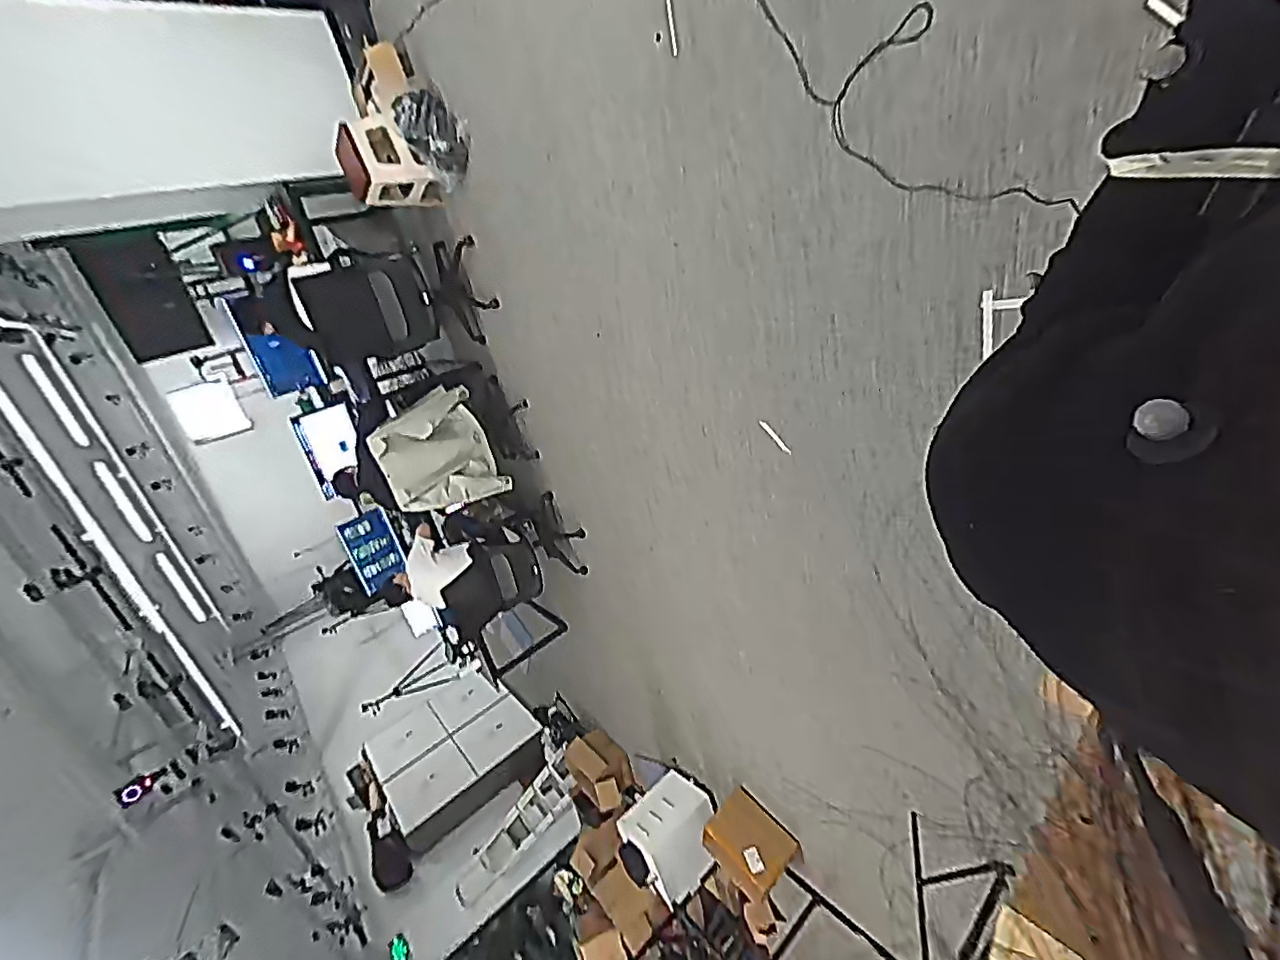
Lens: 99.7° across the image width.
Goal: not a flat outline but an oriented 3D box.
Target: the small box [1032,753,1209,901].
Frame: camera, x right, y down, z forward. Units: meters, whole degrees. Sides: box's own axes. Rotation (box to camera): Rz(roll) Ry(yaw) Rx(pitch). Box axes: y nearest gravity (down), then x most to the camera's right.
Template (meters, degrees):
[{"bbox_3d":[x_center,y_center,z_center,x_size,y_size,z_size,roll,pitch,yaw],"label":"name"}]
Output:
[{"bbox_3d":[0.762,0.582,0.874,0.179,0.176,0.168,20,130,46],"label":"small box"}]

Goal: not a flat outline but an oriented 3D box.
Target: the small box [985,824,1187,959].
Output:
[{"bbox_3d":[0.642,0.649,0.788,0.179,0.176,0.168,21,129,46],"label":"small box"}]
